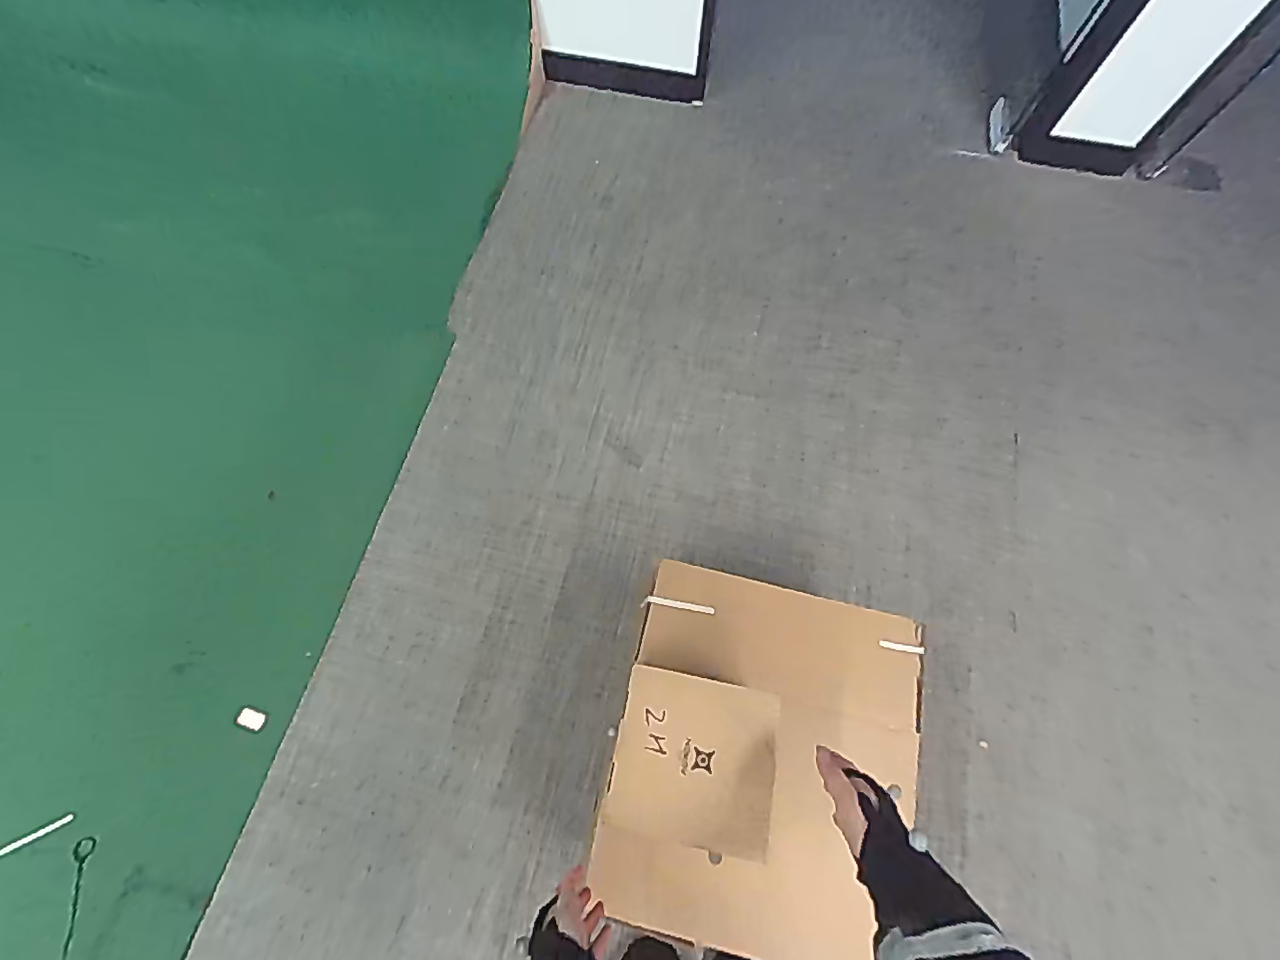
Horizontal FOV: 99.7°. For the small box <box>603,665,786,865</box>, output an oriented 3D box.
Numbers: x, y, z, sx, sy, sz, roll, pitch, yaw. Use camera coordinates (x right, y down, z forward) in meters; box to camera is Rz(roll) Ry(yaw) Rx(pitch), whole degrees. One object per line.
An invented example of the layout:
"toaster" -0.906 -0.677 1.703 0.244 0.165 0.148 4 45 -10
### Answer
"small box" 0.063 0.331 0.657 0.179 0.176 0.168 11 68 5
